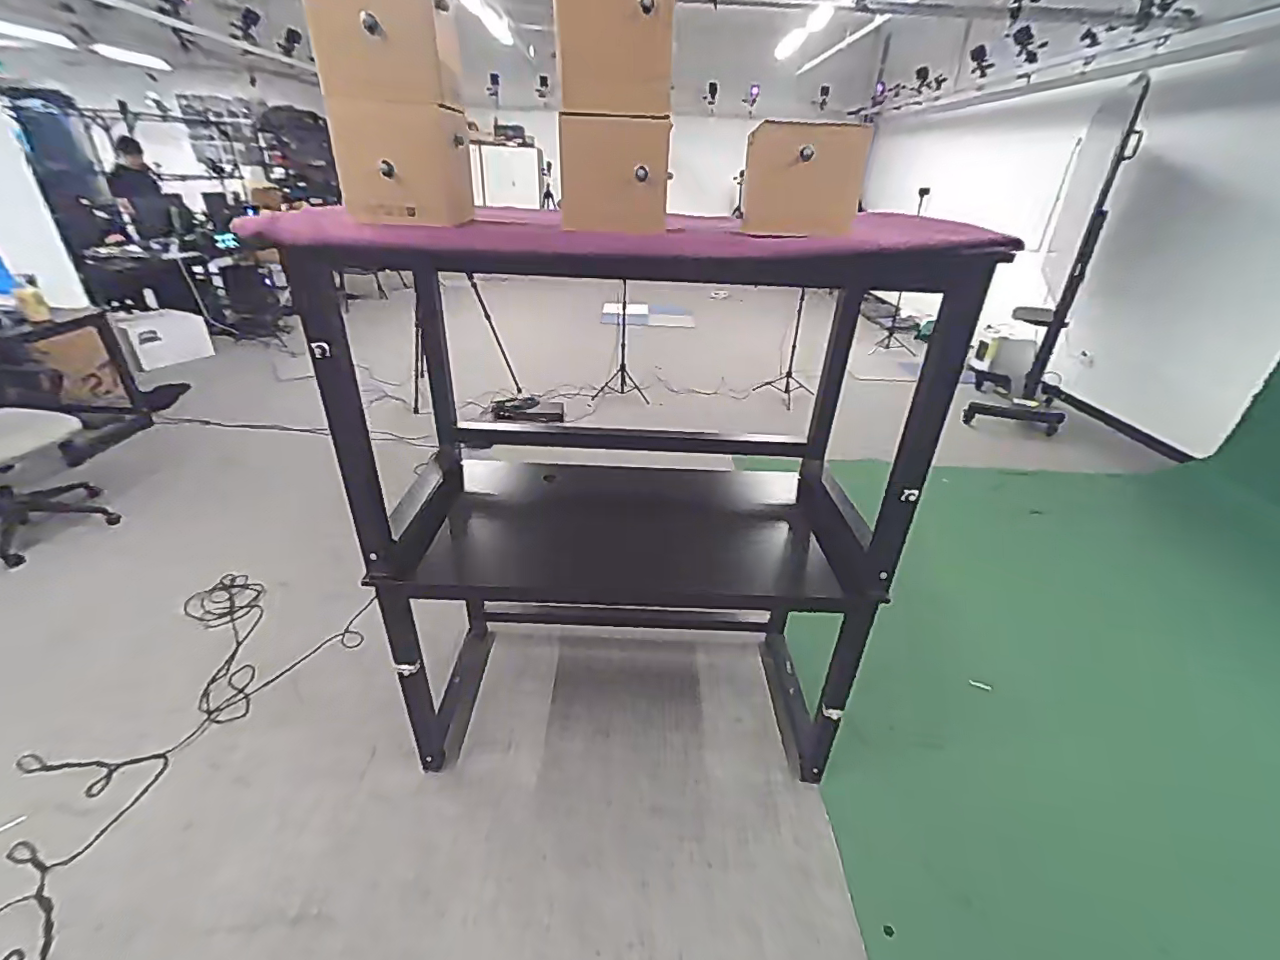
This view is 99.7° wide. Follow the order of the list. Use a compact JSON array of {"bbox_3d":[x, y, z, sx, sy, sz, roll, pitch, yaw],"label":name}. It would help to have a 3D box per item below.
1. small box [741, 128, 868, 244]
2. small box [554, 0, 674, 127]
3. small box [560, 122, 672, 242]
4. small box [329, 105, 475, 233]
[{"bbox_3d":[0.281,-0.518,0.970,0.179,0.176,0.168,3,27,1],"label":"small box"},{"bbox_3d":[-0.041,-0.658,0.866,0.179,0.176,0.168,1,28,-4],"label":"small box"},{"bbox_3d":[-0.041,-0.514,0.943,0.179,0.176,0.168,1,28,-1],"label":"small box"},{"bbox_3d":[-0.382,-0.515,0.907,0.168,0.176,0.179,2,29,-3],"label":"small box"}]
